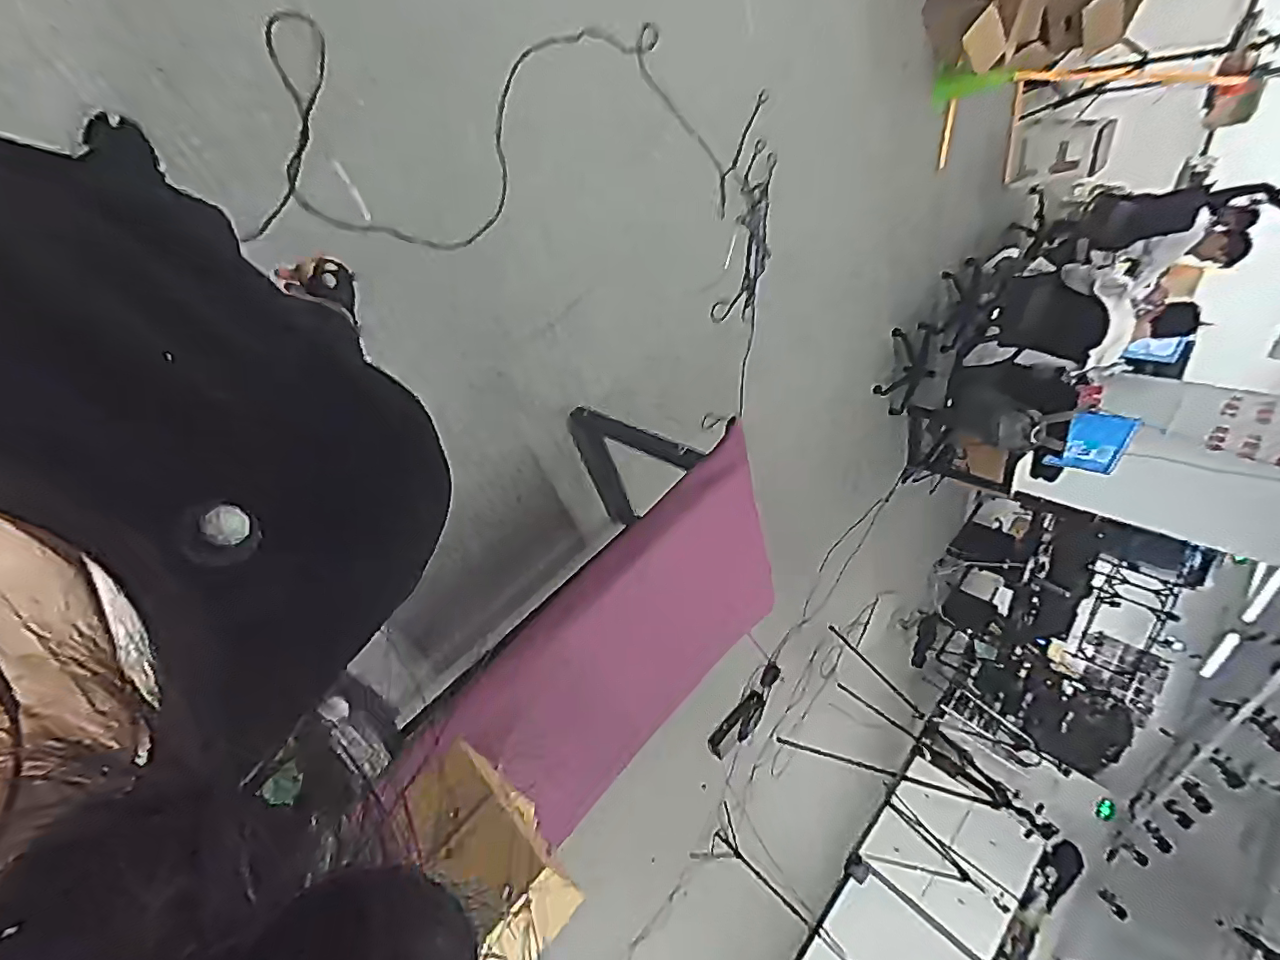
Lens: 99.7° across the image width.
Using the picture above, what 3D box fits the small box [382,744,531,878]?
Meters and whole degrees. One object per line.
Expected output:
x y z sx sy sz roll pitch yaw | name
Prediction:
-0.345 0.640 1.018 0.179 0.176 0.168 -43 133 -22 | small box

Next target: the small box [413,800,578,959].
-0.238 0.677 0.898 0.168 0.176 0.179 -42 134 -25 | small box
